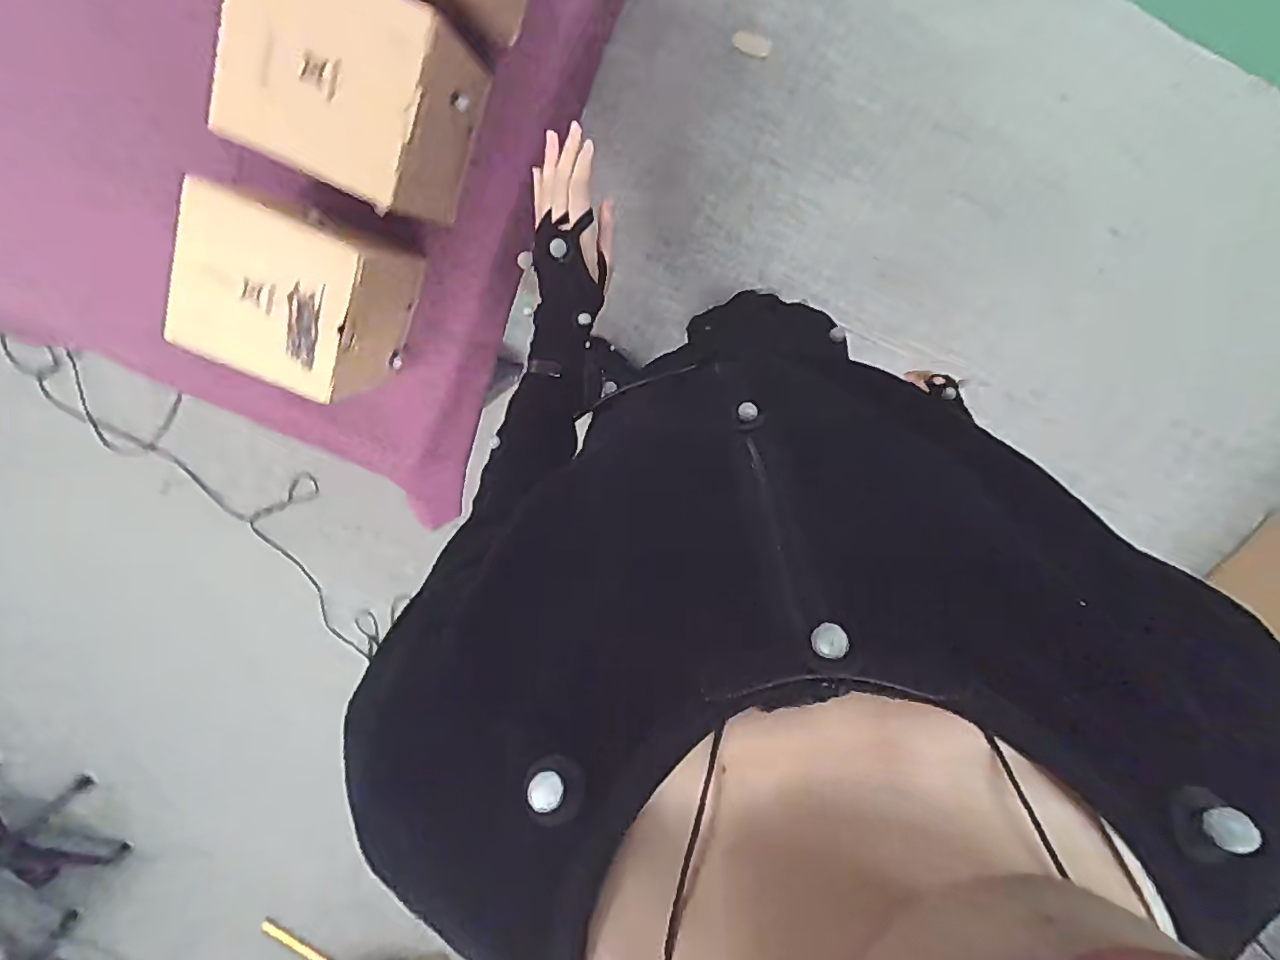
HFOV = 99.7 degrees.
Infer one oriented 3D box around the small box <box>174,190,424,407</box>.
[{"bbox_3d":[-0.380,-0.208,0.630,0.179,0.176,0.168,23,109,-5],"label":"small box"}]
